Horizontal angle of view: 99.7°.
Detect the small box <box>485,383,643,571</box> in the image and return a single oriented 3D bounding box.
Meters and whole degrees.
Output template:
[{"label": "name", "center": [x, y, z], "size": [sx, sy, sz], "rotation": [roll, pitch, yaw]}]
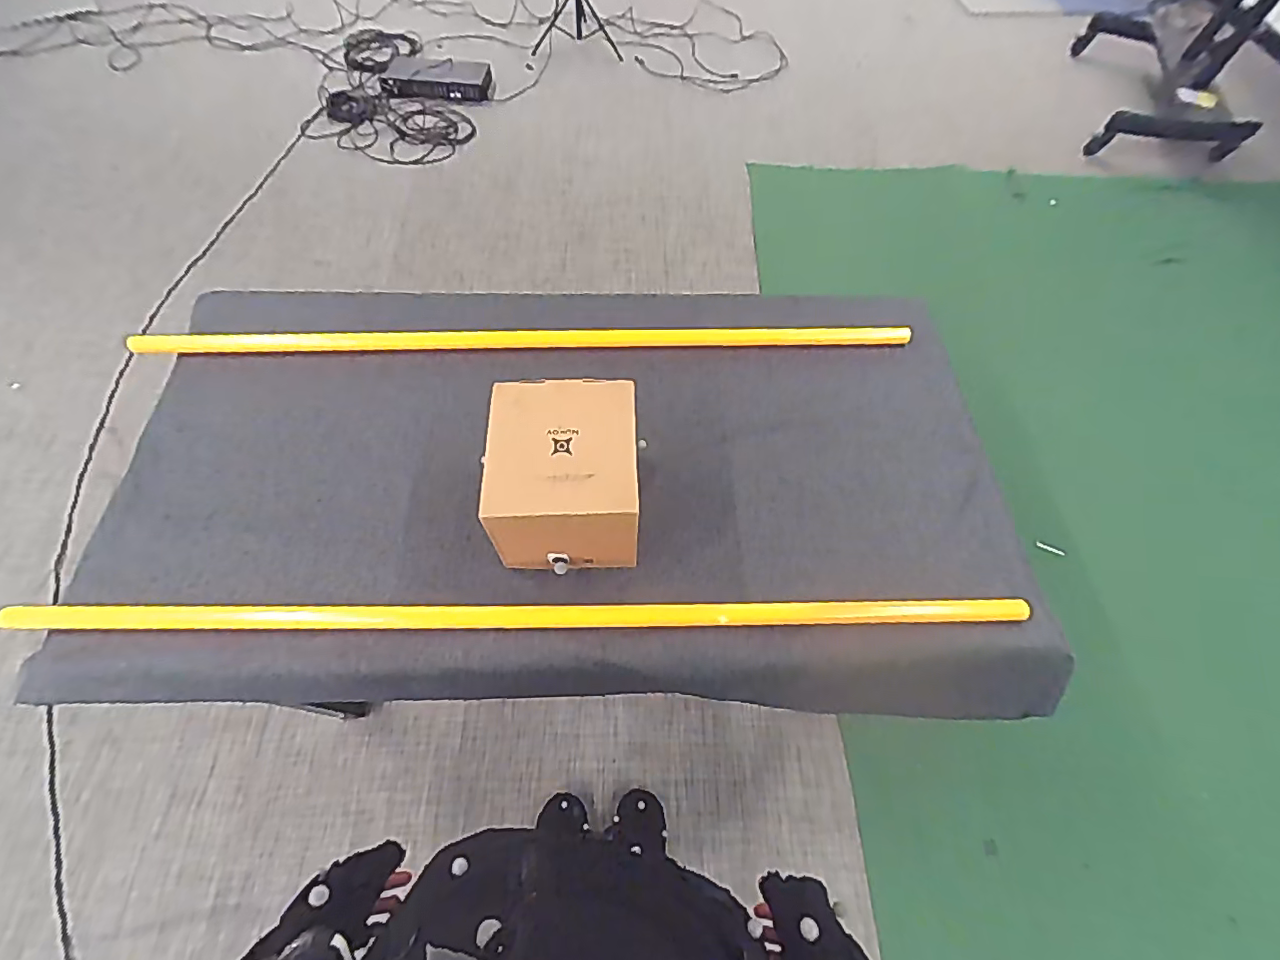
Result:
[{"label": "small box", "center": [-0.084, 0.001, 0.668], "size": [0.168, 0.176, 0.179], "rotation": [-2, 62, -2]}]
